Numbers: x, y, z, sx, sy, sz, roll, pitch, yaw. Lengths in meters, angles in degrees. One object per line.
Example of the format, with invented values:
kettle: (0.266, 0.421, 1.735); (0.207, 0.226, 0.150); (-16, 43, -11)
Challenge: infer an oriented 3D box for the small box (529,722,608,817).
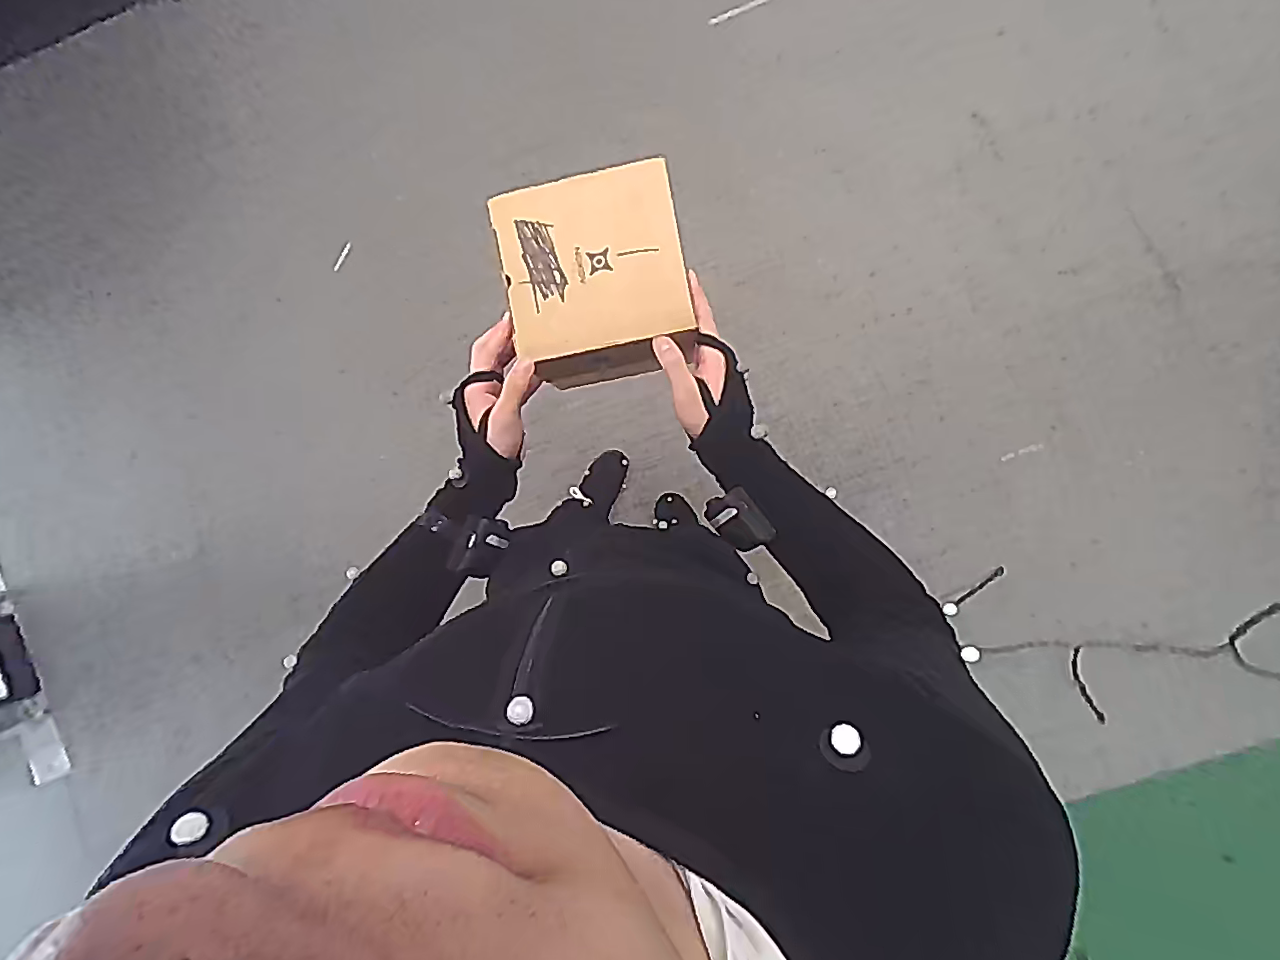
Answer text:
small box: (-0.202, 0.829, 1.573); (0.168, 0.176, 0.179); (-18, 88, 5)

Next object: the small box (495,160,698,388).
small box: (-0.034, -0.204, 0.589); (0.179, 0.176, 0.168); (-10, 90, 5)
